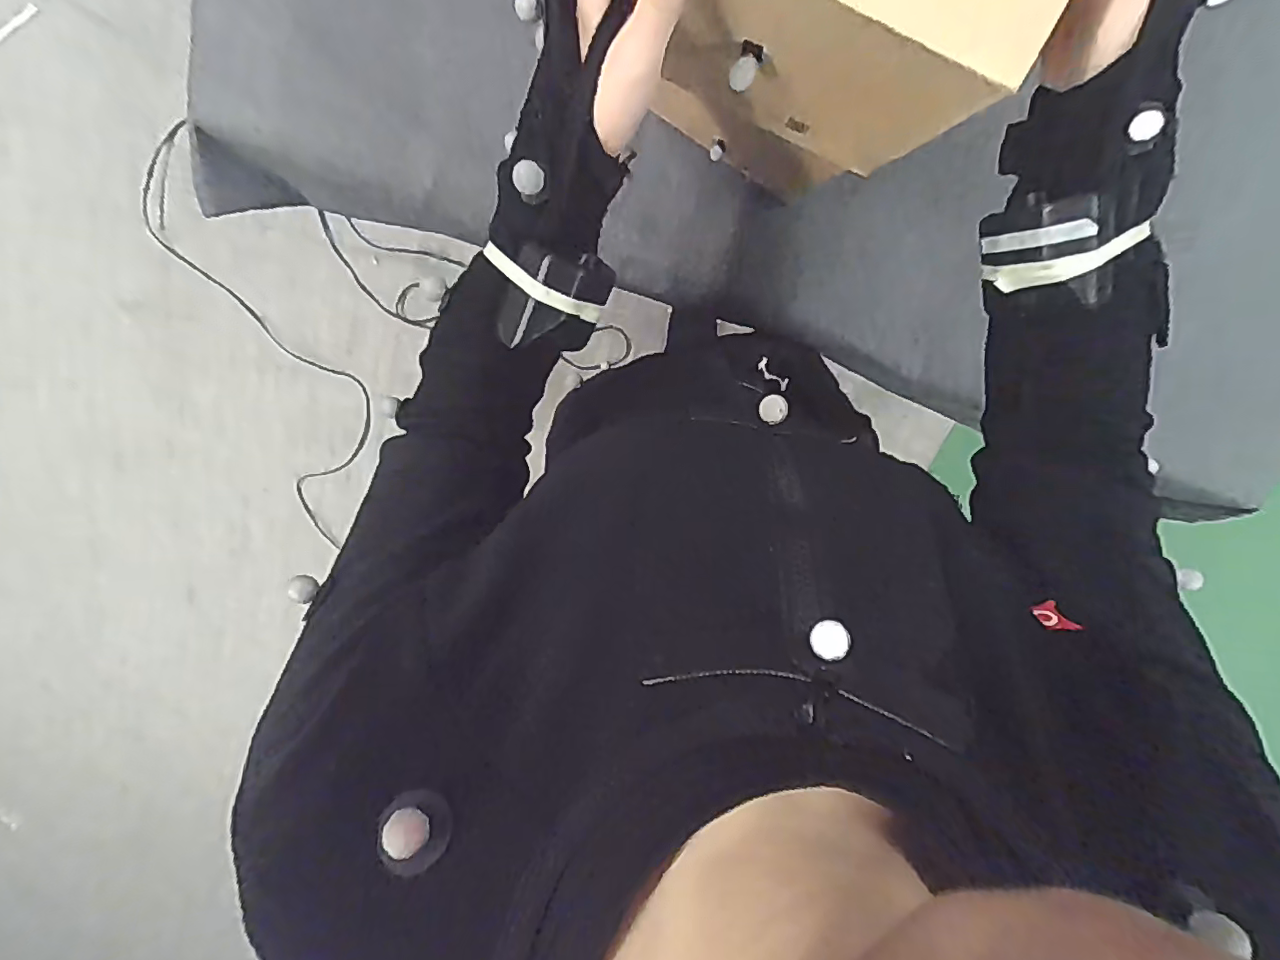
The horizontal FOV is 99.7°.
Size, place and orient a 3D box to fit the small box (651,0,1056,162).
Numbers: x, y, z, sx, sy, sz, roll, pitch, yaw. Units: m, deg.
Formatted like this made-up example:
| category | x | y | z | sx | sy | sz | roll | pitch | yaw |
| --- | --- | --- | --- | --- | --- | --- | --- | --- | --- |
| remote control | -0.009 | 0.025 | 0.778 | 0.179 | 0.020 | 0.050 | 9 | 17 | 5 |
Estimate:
| category | x | y | z | sx | sy | sz | roll | pitch | yaw |
| --- | --- | --- | --- | --- | --- | --- | --- | --- | --- |
| small box | 0.109 | -0.287 | 0.258 | 0.168 | 0.176 | 0.179 | 22 | 107 | -5 |
